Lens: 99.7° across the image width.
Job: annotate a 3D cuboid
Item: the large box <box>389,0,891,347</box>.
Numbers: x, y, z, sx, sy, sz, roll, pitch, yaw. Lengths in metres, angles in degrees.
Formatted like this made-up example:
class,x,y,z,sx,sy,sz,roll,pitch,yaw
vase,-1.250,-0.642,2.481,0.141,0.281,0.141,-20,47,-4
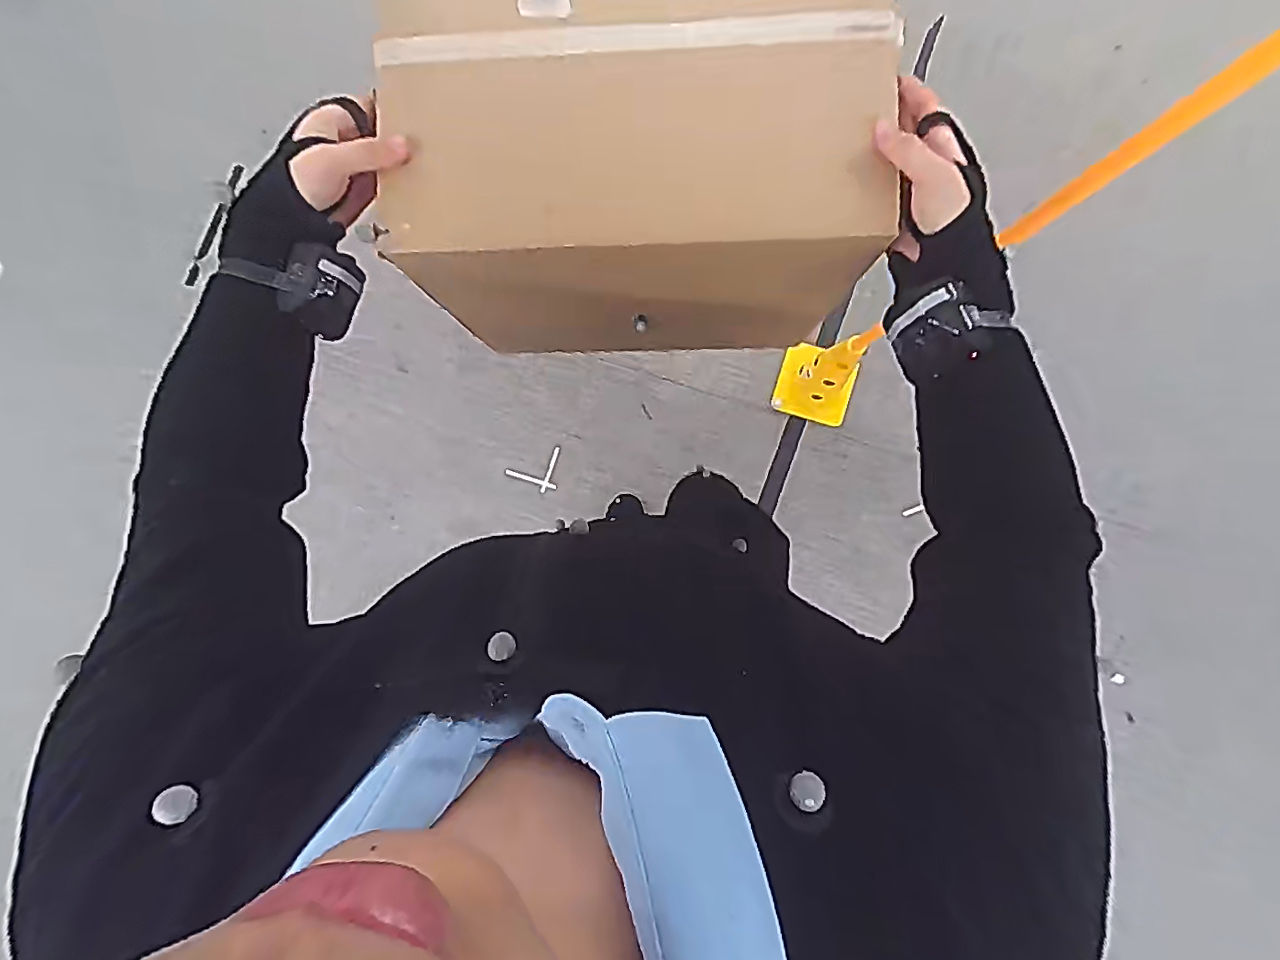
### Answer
class,x,y,z,sx,sy,sz,roll,pitch,yaw
large box,0.003,-0.339,0.581,0.408,0.320,0.320,-1,87,3
